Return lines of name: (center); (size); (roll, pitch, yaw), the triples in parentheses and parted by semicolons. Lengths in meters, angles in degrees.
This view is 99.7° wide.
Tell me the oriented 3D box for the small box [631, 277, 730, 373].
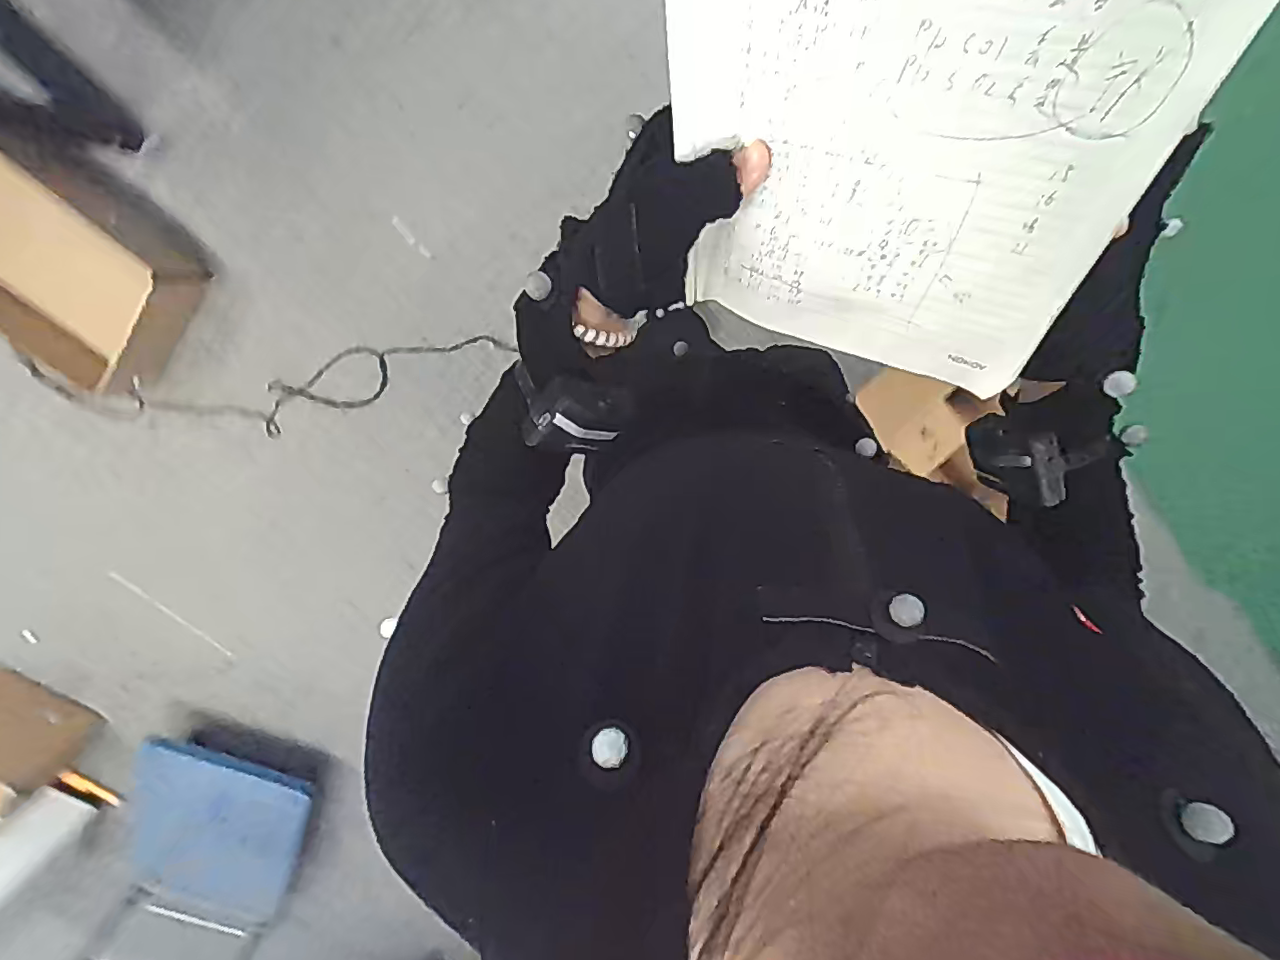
small box: (0.094, -0.383, 1.321); (0.179, 0.176, 0.168); (31, 121, 9)
